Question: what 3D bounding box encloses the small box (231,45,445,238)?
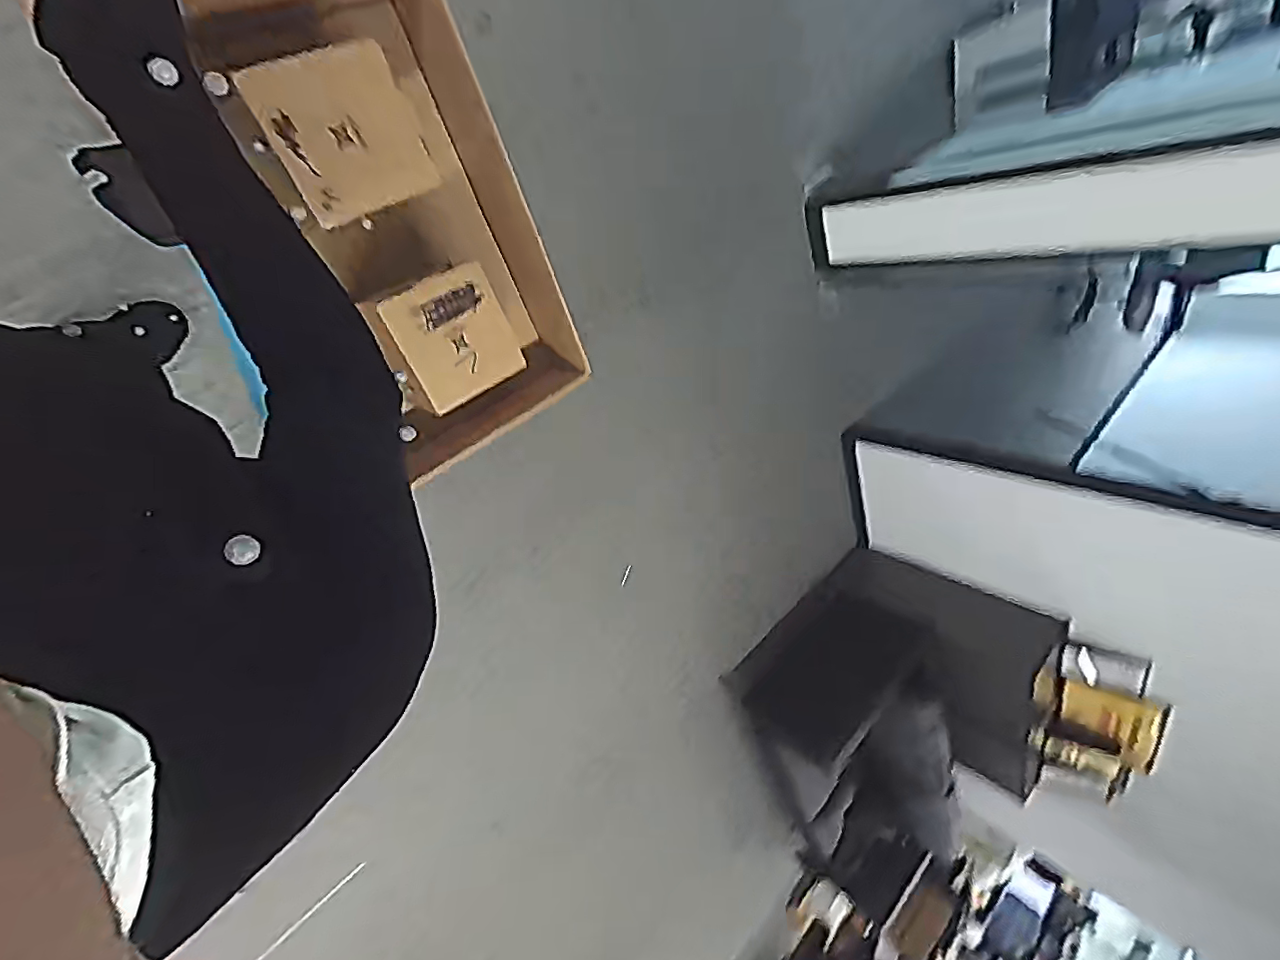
[{"bbox_3d":[-0.400,-0.439,0.718,0.179,0.176,0.168,-38,125,-26],"label":"small box"}]
